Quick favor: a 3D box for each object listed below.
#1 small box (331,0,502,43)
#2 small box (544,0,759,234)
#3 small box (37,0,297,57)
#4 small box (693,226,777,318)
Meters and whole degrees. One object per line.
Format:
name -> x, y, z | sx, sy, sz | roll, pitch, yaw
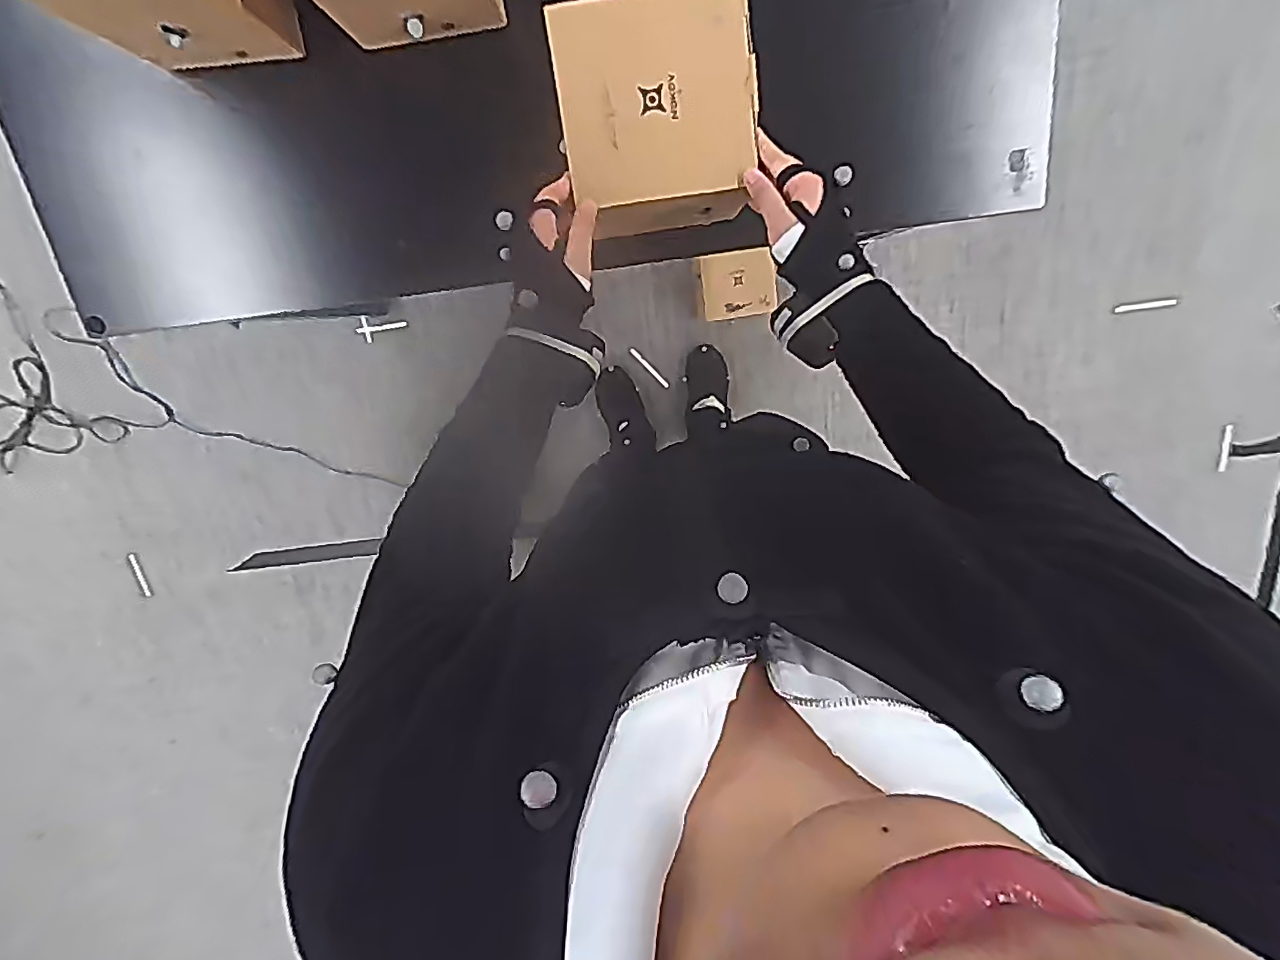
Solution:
small box -> -0.240, -0.554, 0.499 | 0.168, 0.176, 0.179 | -8, 108, 3
small box -> 0.014, -0.364, 0.556 | 0.179, 0.176, 0.168 | -8, 105, 4
small box -> -0.463, -0.531, 0.507 | 0.168, 0.176, 0.179 | -5, 107, 1
small box -> 0.219, -0.484, 1.281 | 0.168, 0.176, 0.179 | -8, 107, 4
